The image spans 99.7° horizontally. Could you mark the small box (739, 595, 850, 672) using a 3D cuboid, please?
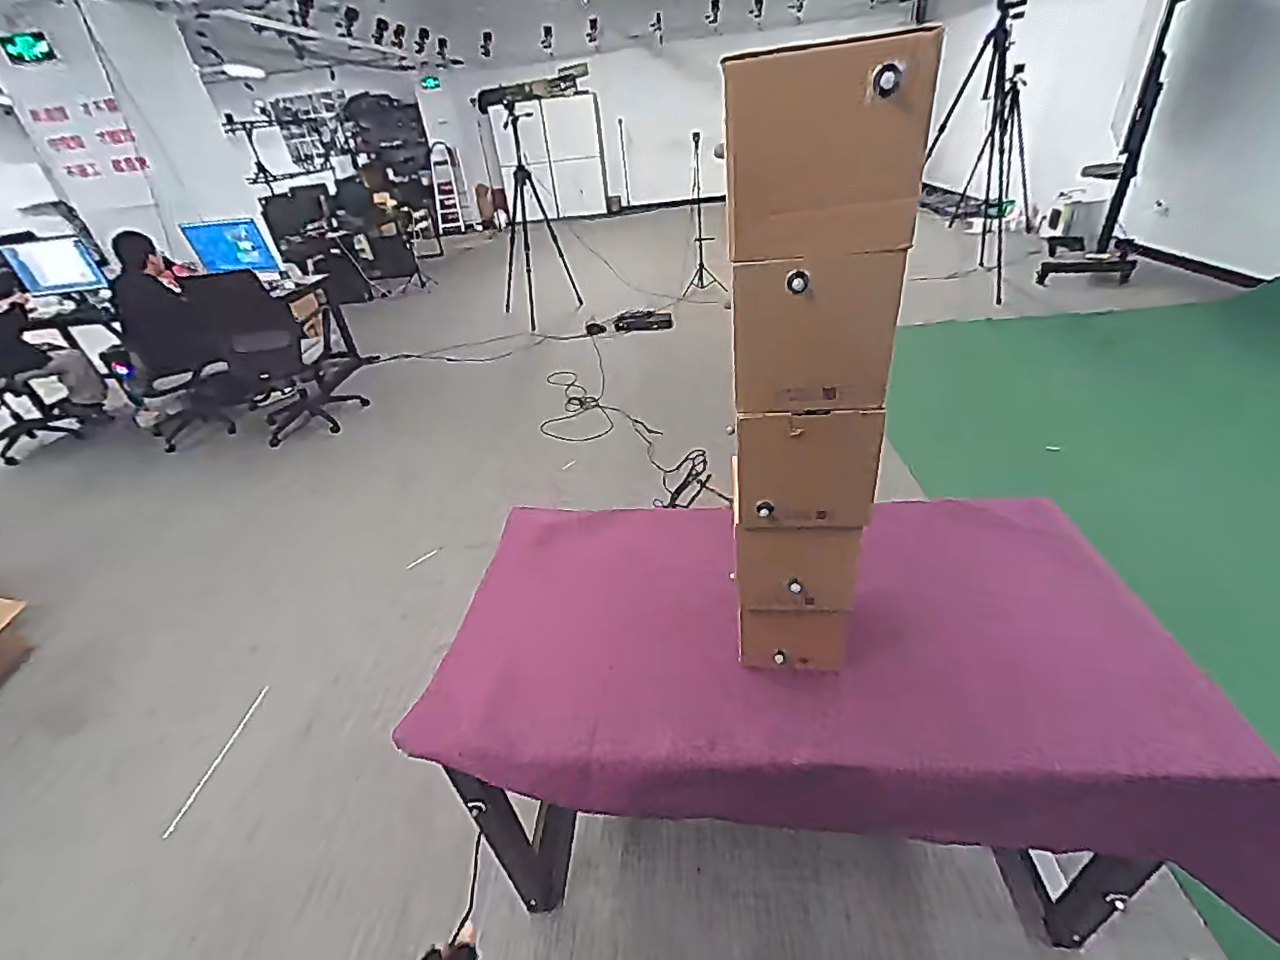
[{"bbox_3d":[0.255,0.200,0.929,0.168,0.176,0.179,-1,35,11],"label":"small box"}]

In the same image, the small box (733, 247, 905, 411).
[{"bbox_3d":[0.196,-0.193,0.641,0.168,0.176,0.179,-1,33,12],"label":"small box"}]

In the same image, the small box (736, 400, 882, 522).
[{"bbox_3d":[0.215,-0.055,0.727,0.168,0.176,0.179,-1,33,10],"label":"small box"}]

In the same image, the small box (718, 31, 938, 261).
[{"bbox_3d":[0.176,-0.327,0.550,0.179,0.176,0.168,1,35,12],"label":"small box"}]

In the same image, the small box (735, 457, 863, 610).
[{"bbox_3d":[0.230,0.075,0.826,0.168,0.176,0.179,-2,34,10],"label":"small box"}]
